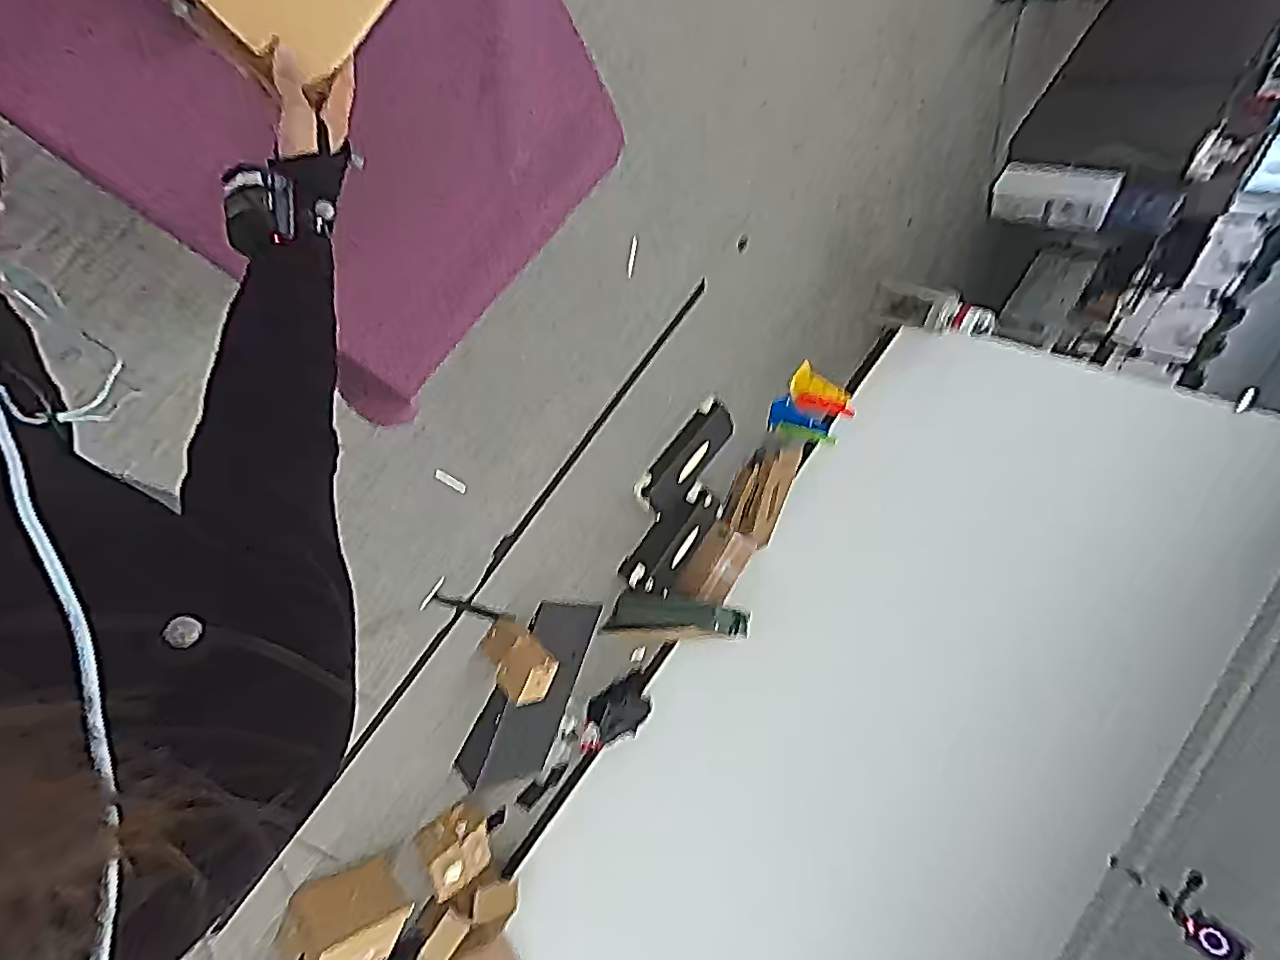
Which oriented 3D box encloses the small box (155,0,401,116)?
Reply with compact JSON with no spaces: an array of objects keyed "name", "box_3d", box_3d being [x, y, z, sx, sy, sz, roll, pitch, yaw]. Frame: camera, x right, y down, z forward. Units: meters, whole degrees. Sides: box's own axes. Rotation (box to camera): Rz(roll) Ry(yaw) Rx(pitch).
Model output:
[{"name":"small box","box_3d":[-0.352,-0.474,0.473,0.168,0.176,0.179,-53,152,1]}]
